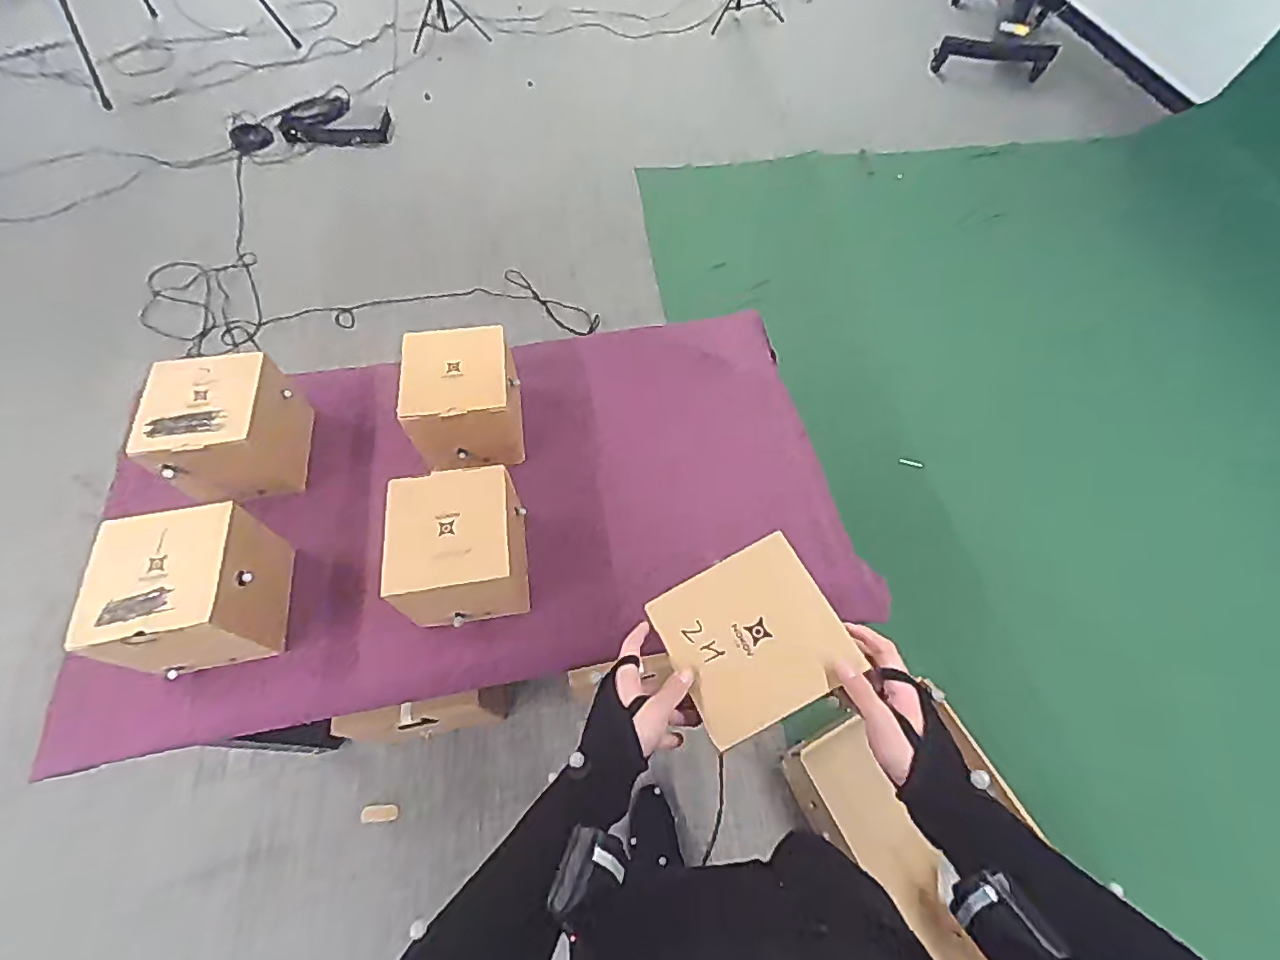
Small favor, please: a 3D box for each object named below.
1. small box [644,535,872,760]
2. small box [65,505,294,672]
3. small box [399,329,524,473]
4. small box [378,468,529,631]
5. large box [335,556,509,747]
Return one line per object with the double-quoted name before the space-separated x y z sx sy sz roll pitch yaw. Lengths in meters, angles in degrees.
"small box" 0.129 0.192 0.620 0.179 0.176 0.168 -30 63 0
"small box" -0.618 0.159 0.756 0.168 0.176 0.179 -9 60 -7
"small box" -0.296 -0.133 0.928 0.168 0.176 0.179 -7 63 -5
"small box" -0.261 0.106 0.795 0.168 0.176 0.179 -8 61 -4
"large box" -0.529 0.421 1.372 0.320 0.320 0.408 -8 60 -7
